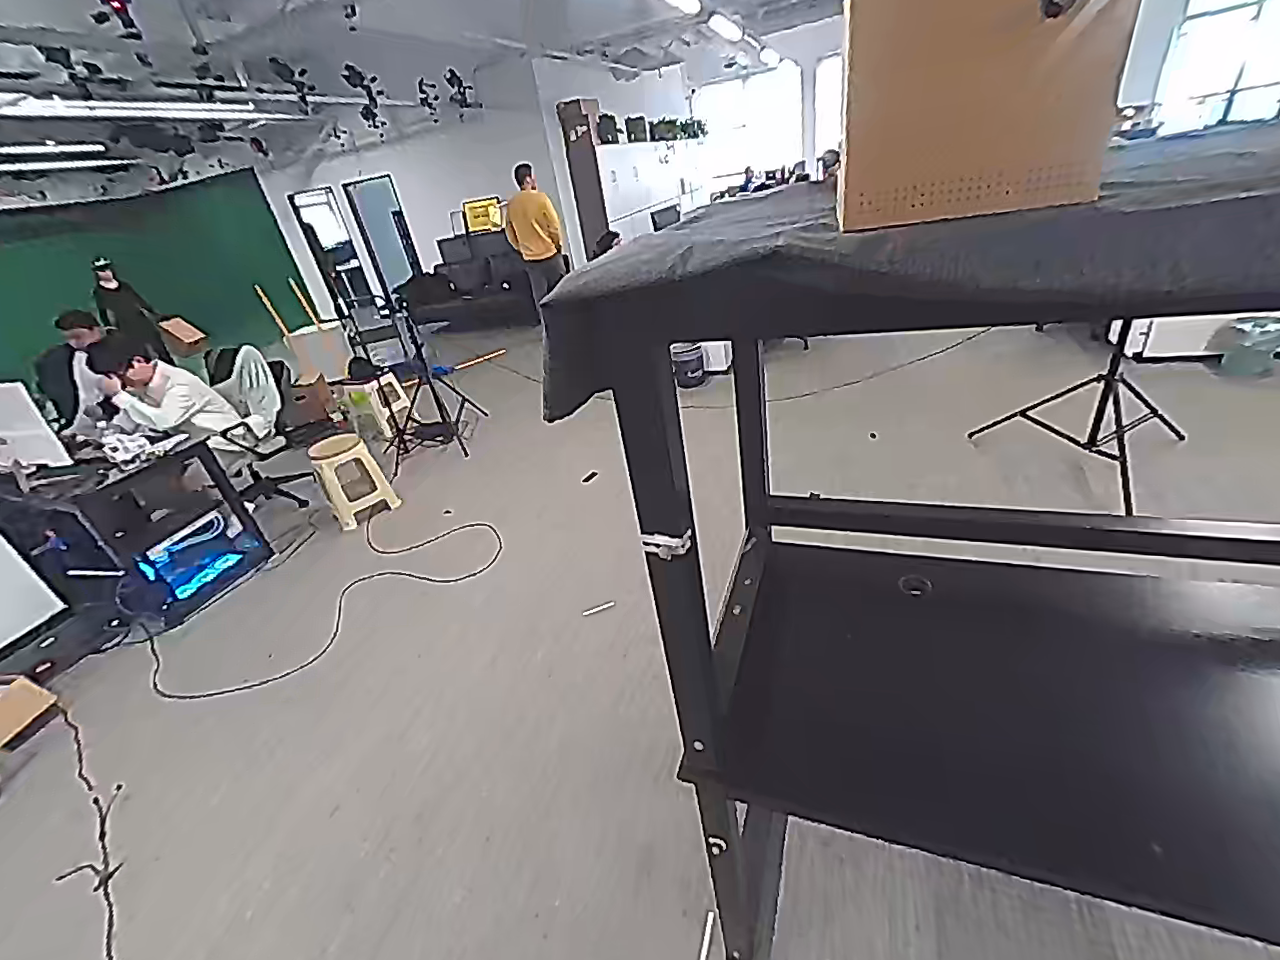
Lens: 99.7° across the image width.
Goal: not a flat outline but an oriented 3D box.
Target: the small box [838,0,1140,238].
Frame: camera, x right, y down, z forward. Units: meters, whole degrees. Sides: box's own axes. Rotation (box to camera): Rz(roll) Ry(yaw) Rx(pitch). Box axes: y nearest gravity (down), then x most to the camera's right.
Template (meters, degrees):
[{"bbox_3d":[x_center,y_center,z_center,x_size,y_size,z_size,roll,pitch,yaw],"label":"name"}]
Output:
[{"bbox_3d":[0.259,-0.307,0.443,0.179,0.176,0.168,0,29,18],"label":"small box"}]
